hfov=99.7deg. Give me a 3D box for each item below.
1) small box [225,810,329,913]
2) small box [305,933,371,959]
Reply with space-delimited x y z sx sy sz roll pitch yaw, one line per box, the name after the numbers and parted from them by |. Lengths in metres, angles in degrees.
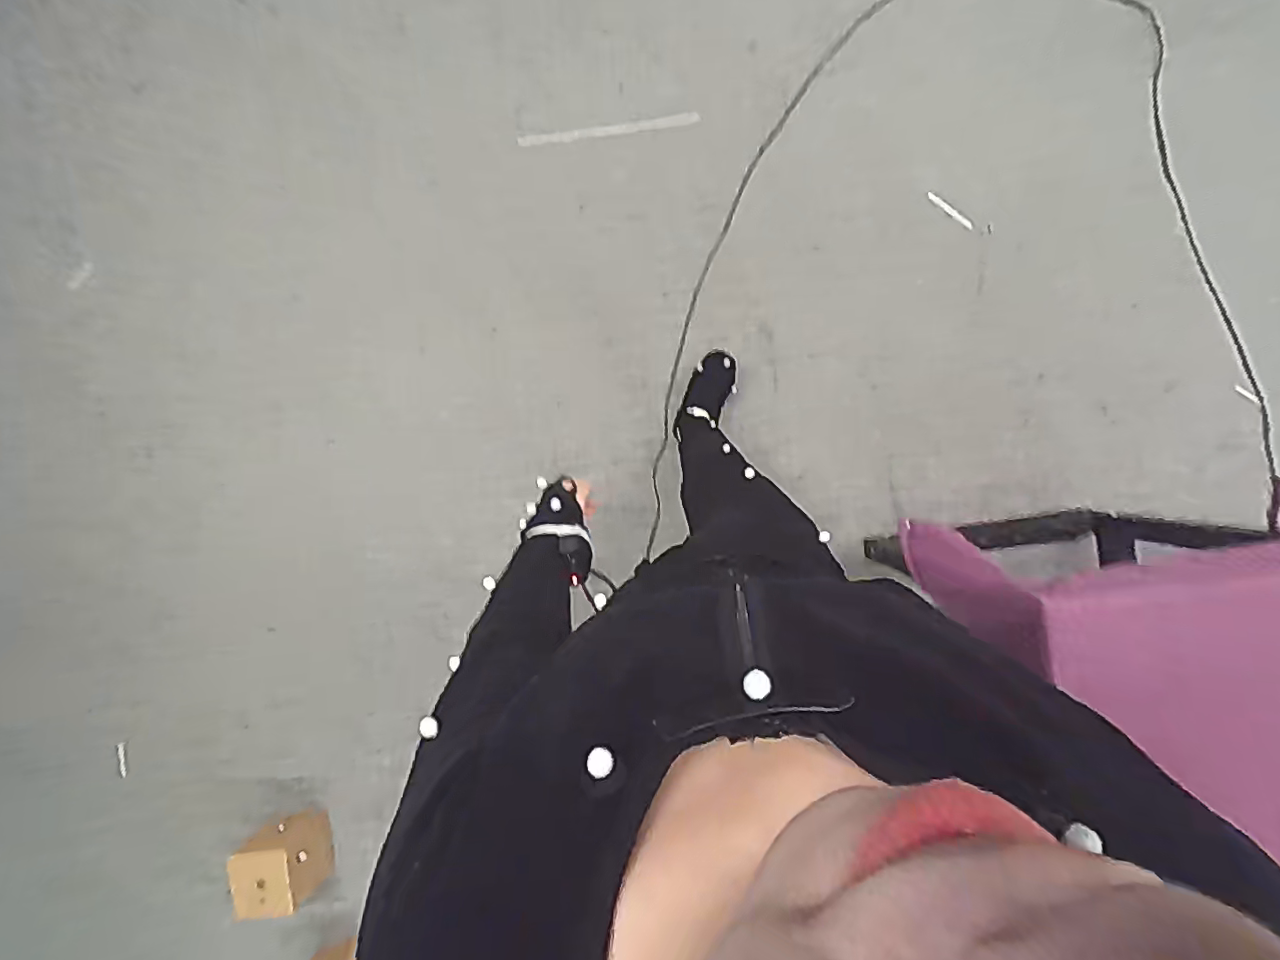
-0.991 1.038 1.487 0.168 0.176 0.179 -6 91 5 | small box
-0.860 1.414 1.495 0.179 0.176 0.168 -22 91 4 | small box
